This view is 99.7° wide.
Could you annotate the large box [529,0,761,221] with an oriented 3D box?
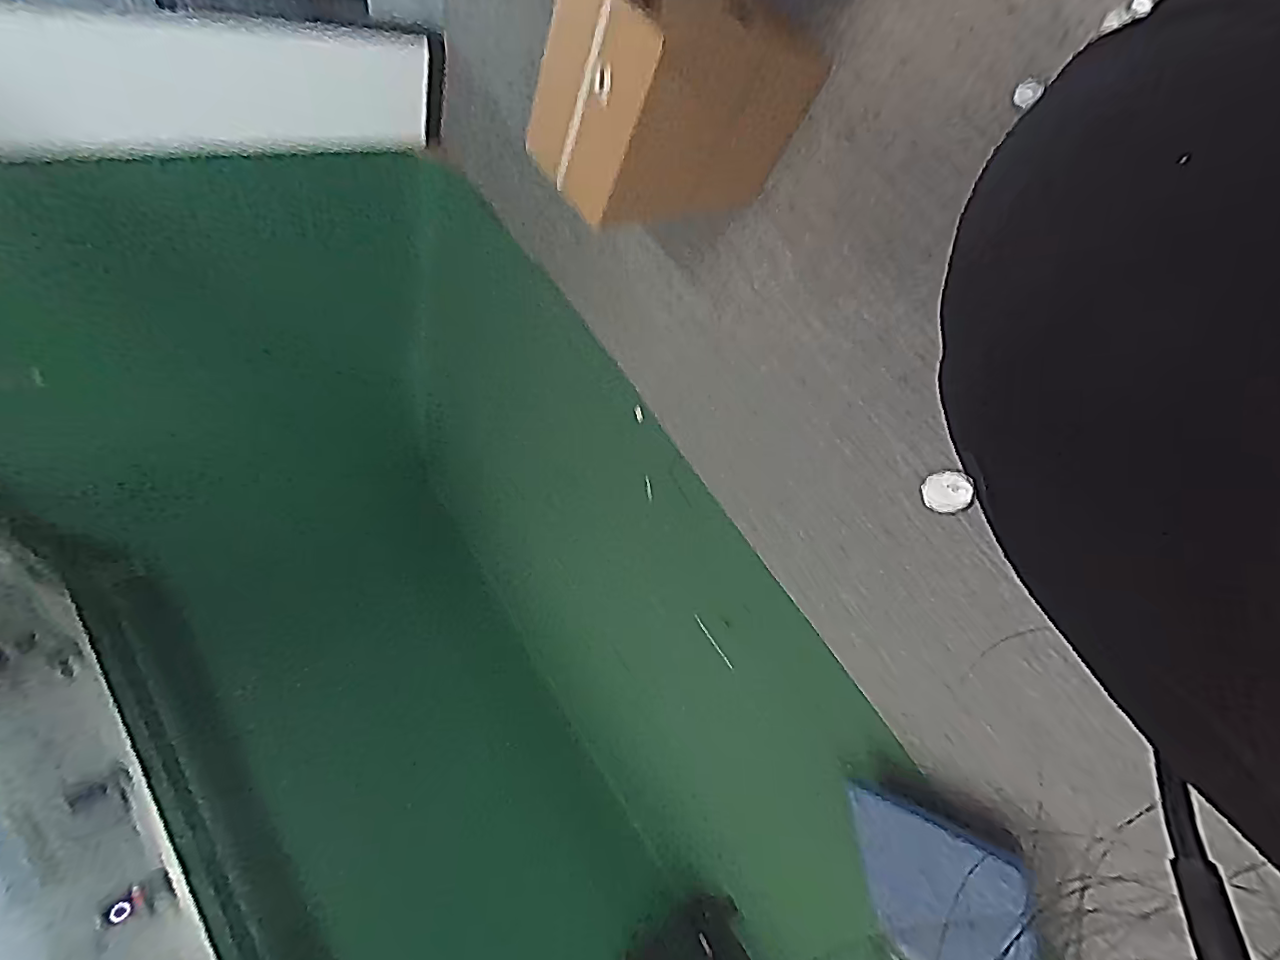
[{"bbox_3d":[-0.006,-0.875,1.239,0.320,0.320,0.408,53,143,11],"label":"large box"}]
